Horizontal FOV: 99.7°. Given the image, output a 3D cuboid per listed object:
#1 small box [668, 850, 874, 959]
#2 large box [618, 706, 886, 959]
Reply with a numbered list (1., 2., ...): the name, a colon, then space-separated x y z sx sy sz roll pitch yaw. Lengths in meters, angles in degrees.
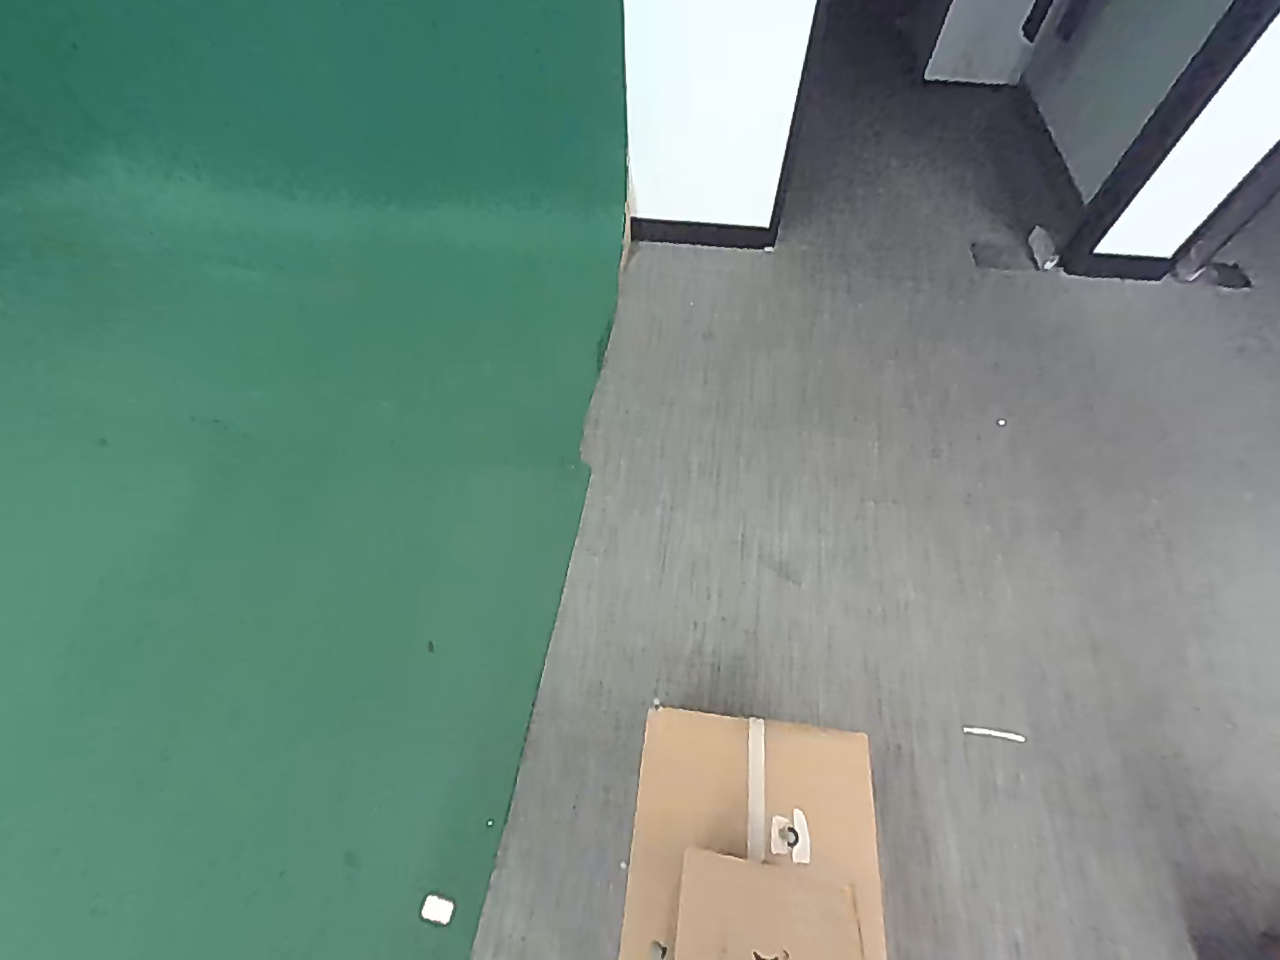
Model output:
1. small box: 0.119 0.502 0.535 0.179 0.176 0.168 9 41 6
2. large box: 0.145 0.589 0.792 0.320 0.320 0.408 6 57 5
